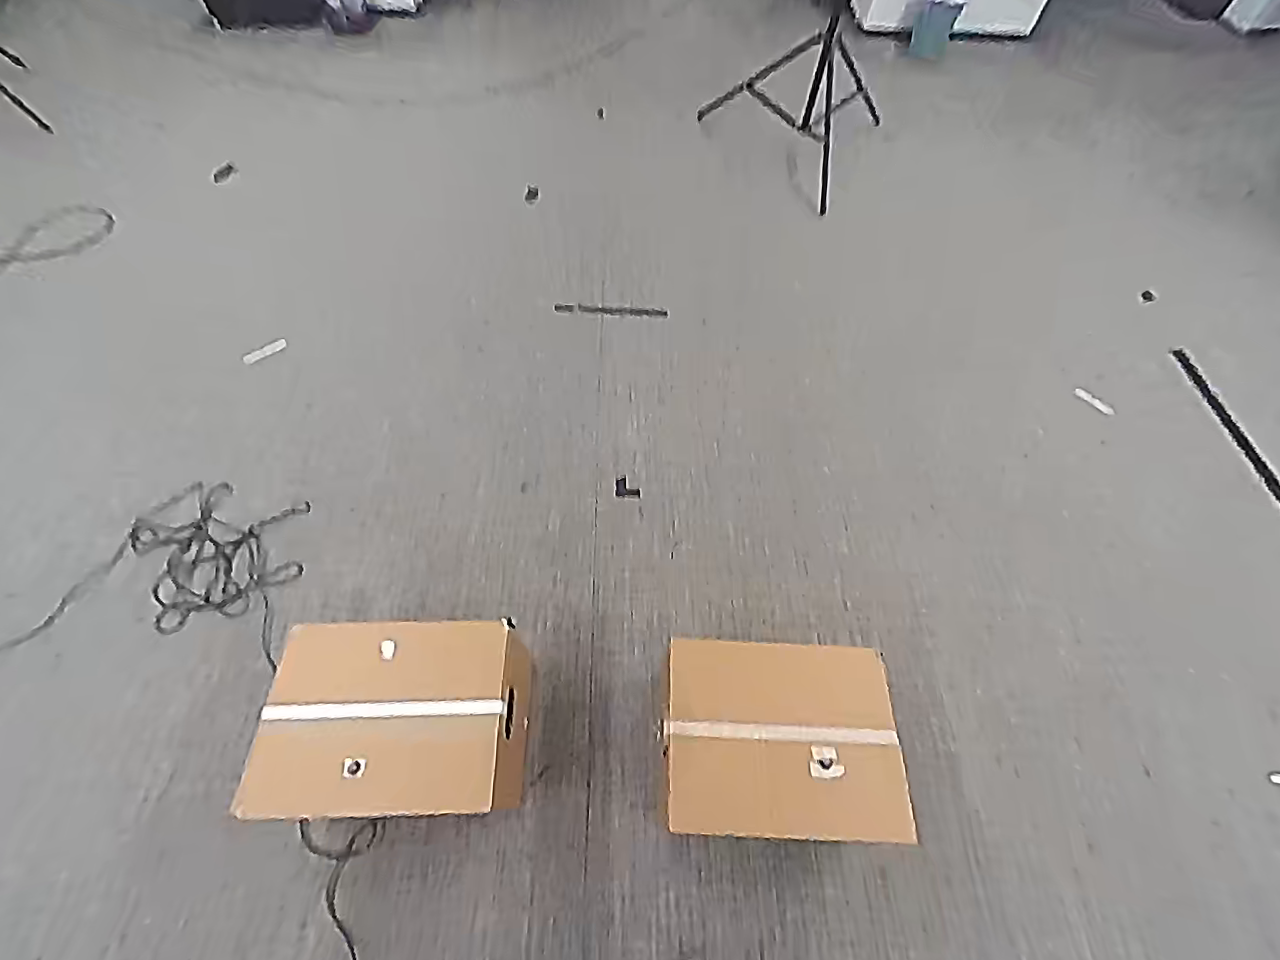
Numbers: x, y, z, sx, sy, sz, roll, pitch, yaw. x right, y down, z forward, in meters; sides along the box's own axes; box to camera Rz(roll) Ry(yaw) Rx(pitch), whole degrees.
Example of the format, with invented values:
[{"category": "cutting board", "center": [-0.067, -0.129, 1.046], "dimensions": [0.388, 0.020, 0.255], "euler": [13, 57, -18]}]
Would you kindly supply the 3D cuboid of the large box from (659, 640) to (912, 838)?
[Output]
[{"category": "large box", "center": [0.247, 0.526, 1.085], "dimensions": [0.408, 0.320, 0.320], "euler": [4, 58, -1]}]
